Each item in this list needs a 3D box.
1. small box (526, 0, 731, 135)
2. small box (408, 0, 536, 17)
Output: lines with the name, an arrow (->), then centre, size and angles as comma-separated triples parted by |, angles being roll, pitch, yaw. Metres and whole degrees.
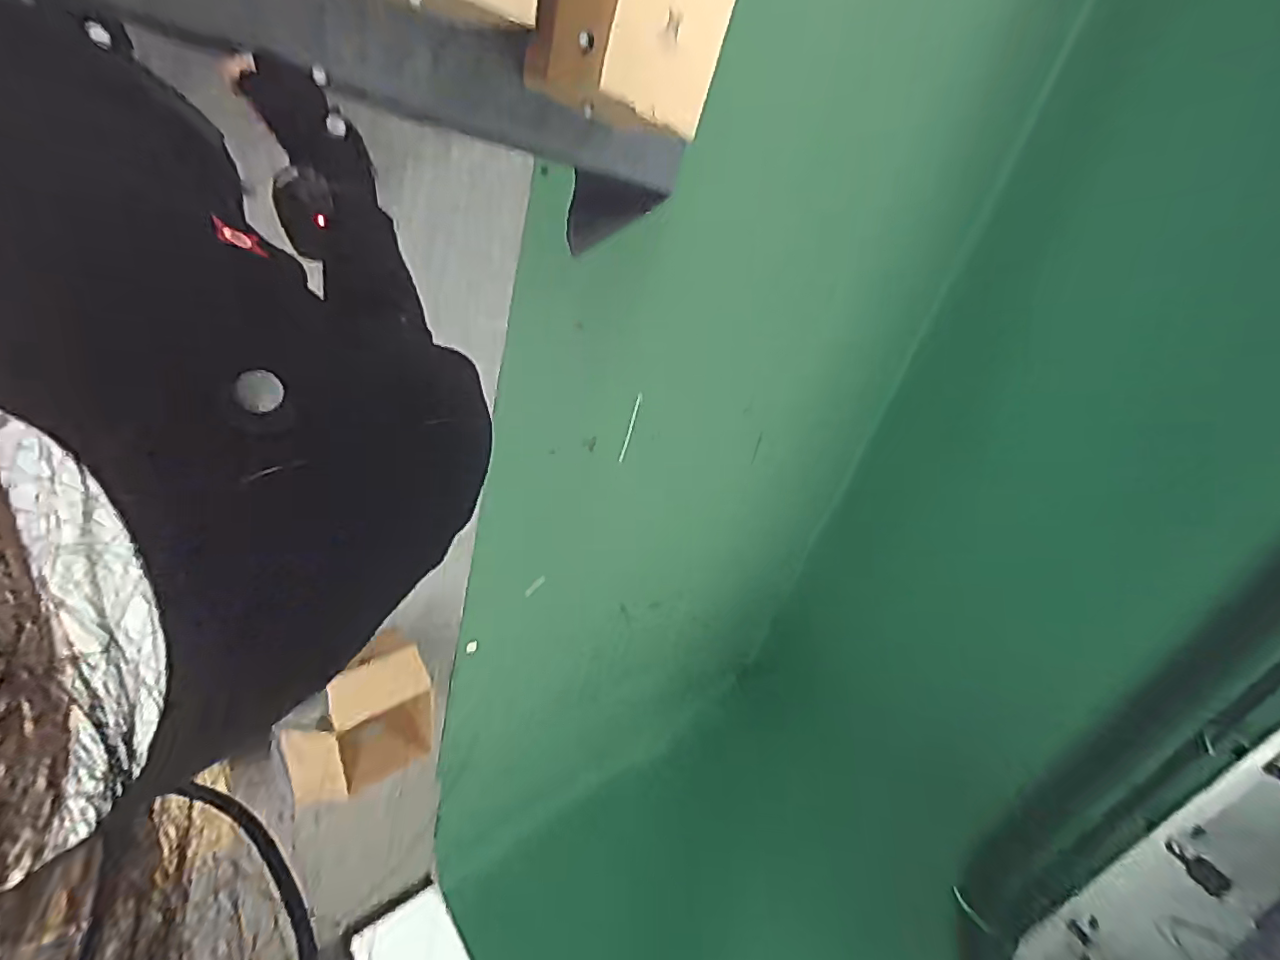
small box -> -0.019, -0.555, 0.659 | 0.168, 0.176, 0.179 | -8, 125, -45
small box -> -0.200, -0.534, 0.471 | 0.179, 0.176, 0.168 | -15, 130, -41
